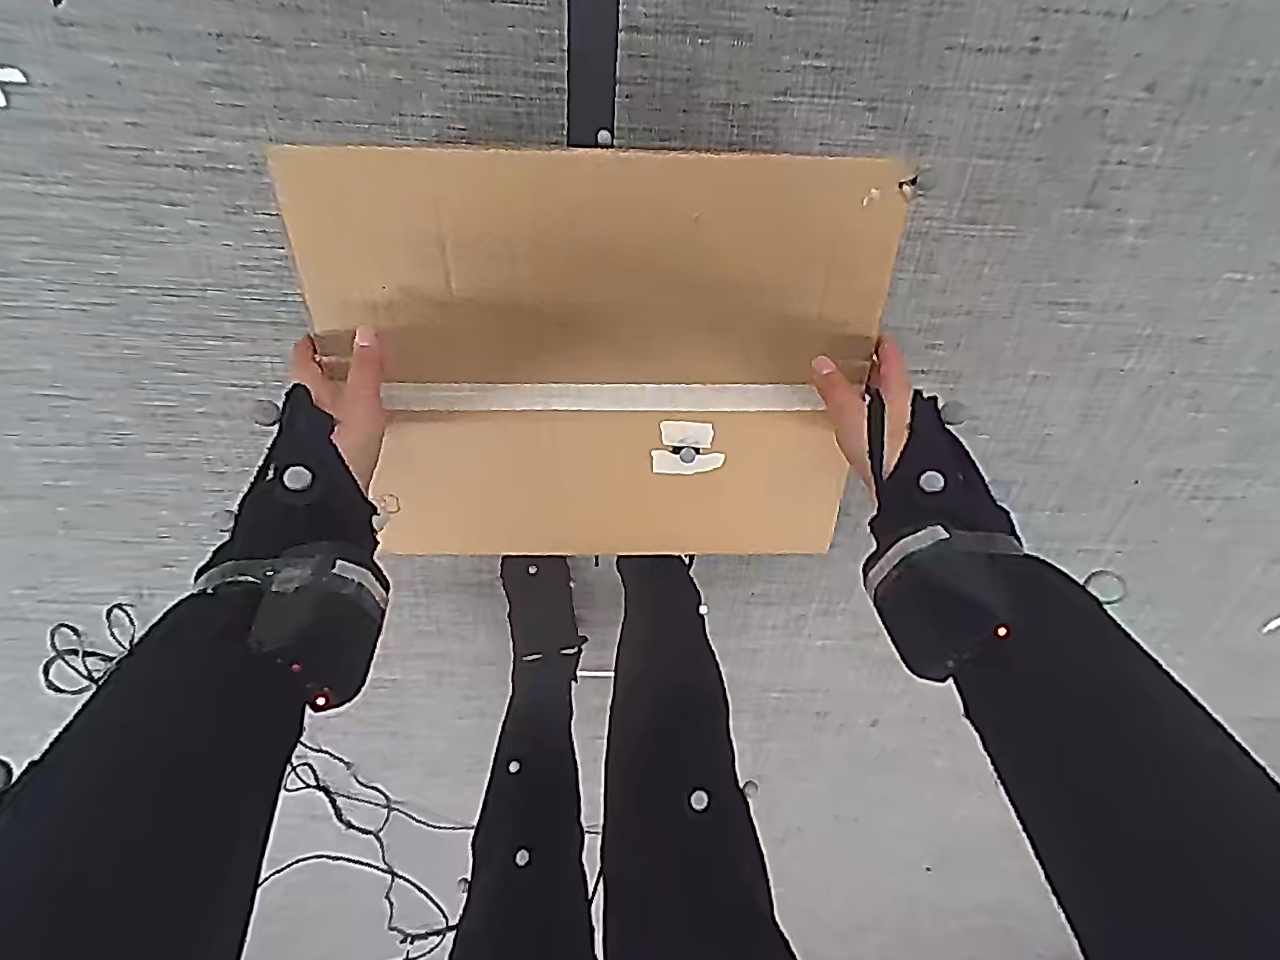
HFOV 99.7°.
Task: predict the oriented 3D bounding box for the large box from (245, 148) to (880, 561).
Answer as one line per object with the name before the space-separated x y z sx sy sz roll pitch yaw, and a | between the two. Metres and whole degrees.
large box | -0.052 -0.141 0.537 0.408 0.320 0.320 -1 121 -2
